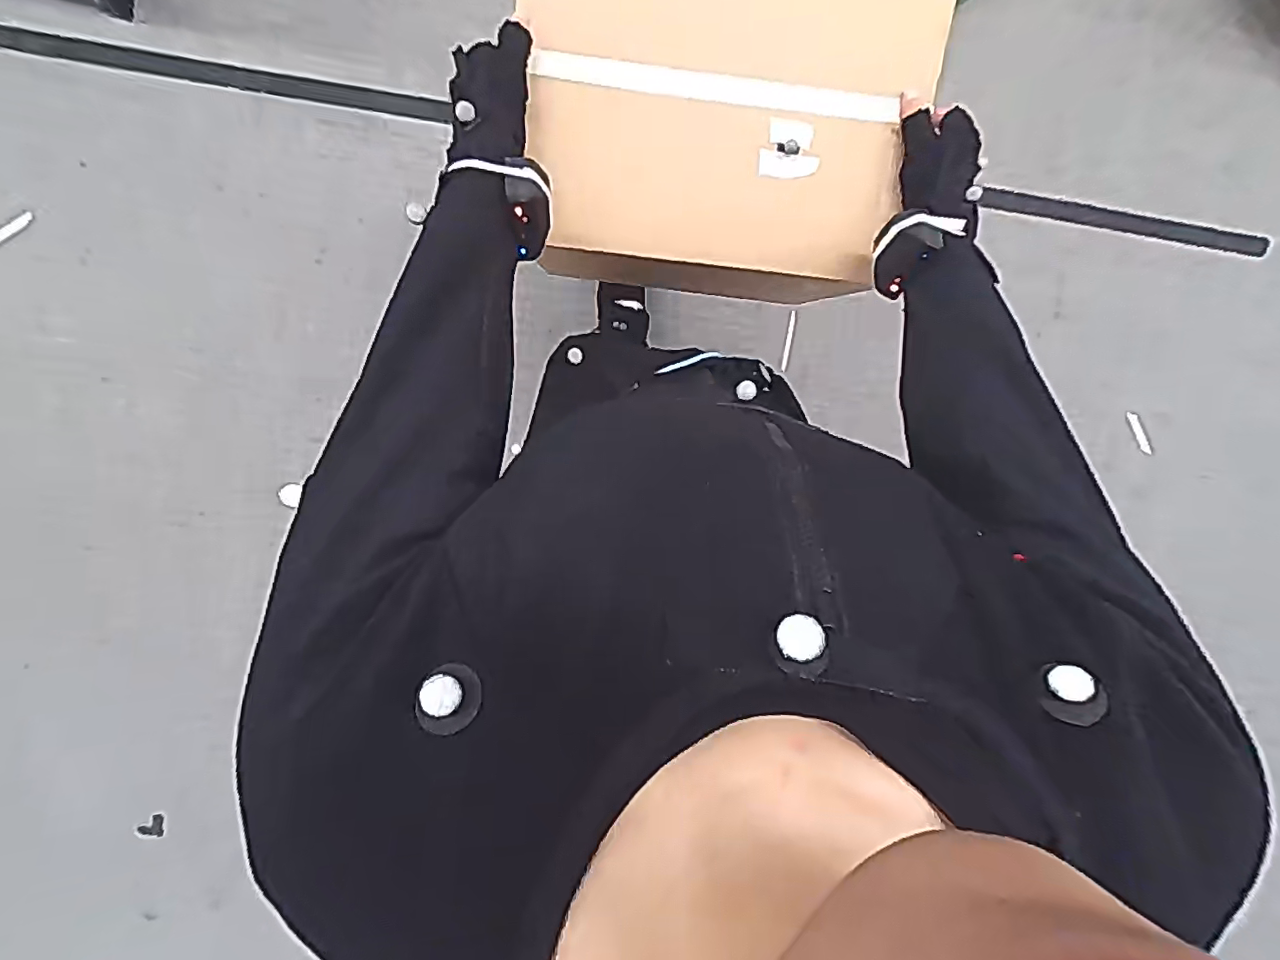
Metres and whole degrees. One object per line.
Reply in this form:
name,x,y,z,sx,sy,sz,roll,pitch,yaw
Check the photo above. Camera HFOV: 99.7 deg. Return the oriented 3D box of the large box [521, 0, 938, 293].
large box,0.075,-0.425,0.680,0.408,0.320,0.320,5,105,-5
